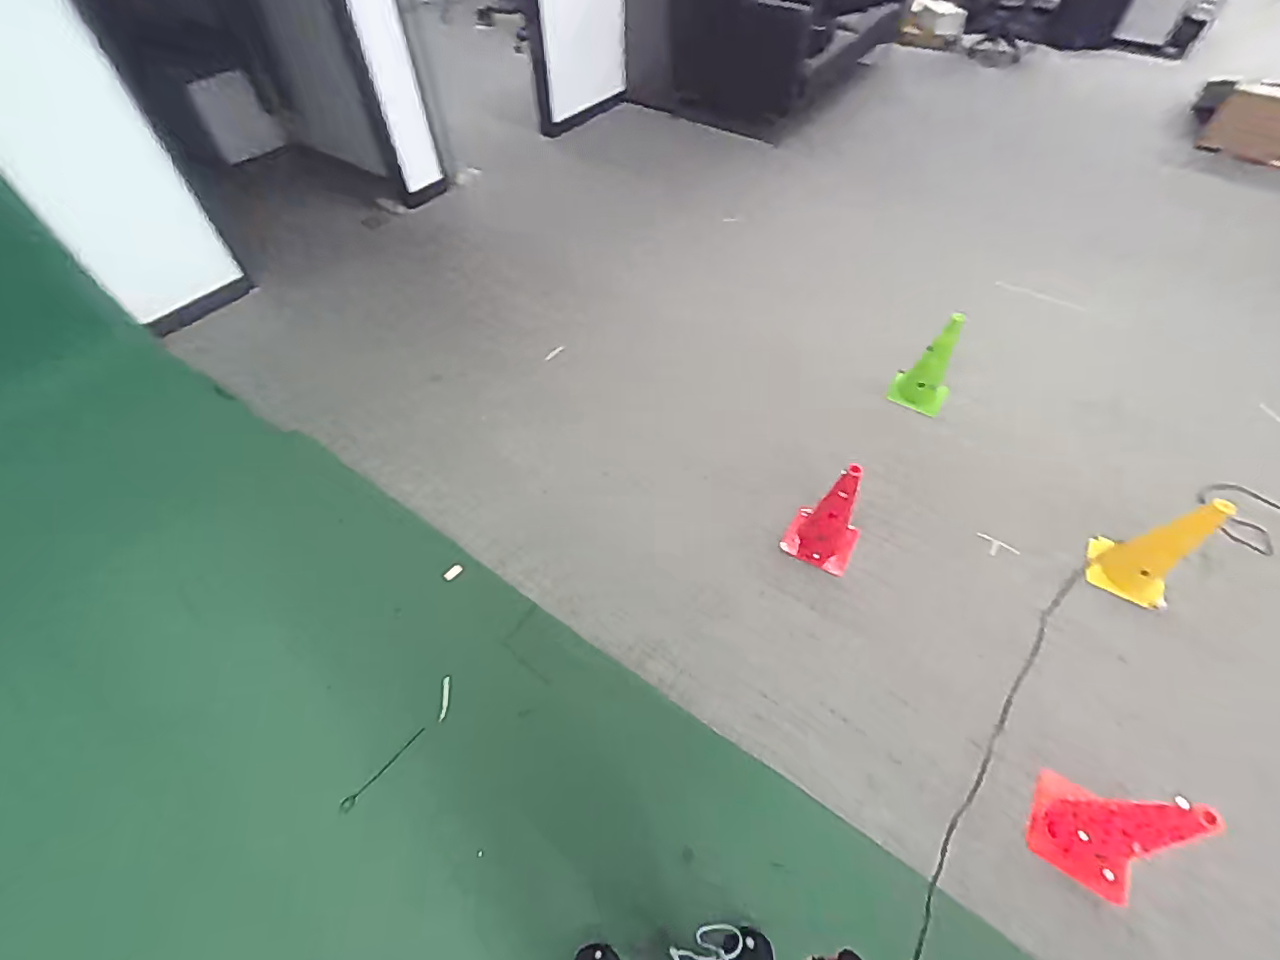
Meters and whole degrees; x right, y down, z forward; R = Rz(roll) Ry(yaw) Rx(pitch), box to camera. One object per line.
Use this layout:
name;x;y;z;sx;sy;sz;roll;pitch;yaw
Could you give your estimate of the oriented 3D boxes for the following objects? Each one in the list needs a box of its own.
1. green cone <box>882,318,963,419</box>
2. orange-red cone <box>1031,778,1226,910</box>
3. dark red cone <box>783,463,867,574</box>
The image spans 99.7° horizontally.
green cone;1.074;-0.433;1.987;0.202;0.368;0.200;28;57;19
orange-red cone;1.006;0.710;1.090;0.198;0.360;0.199;30;57;20
dark red cone;0.565;0.084;1.550;0.202;0.394;0.201;24;57;18
